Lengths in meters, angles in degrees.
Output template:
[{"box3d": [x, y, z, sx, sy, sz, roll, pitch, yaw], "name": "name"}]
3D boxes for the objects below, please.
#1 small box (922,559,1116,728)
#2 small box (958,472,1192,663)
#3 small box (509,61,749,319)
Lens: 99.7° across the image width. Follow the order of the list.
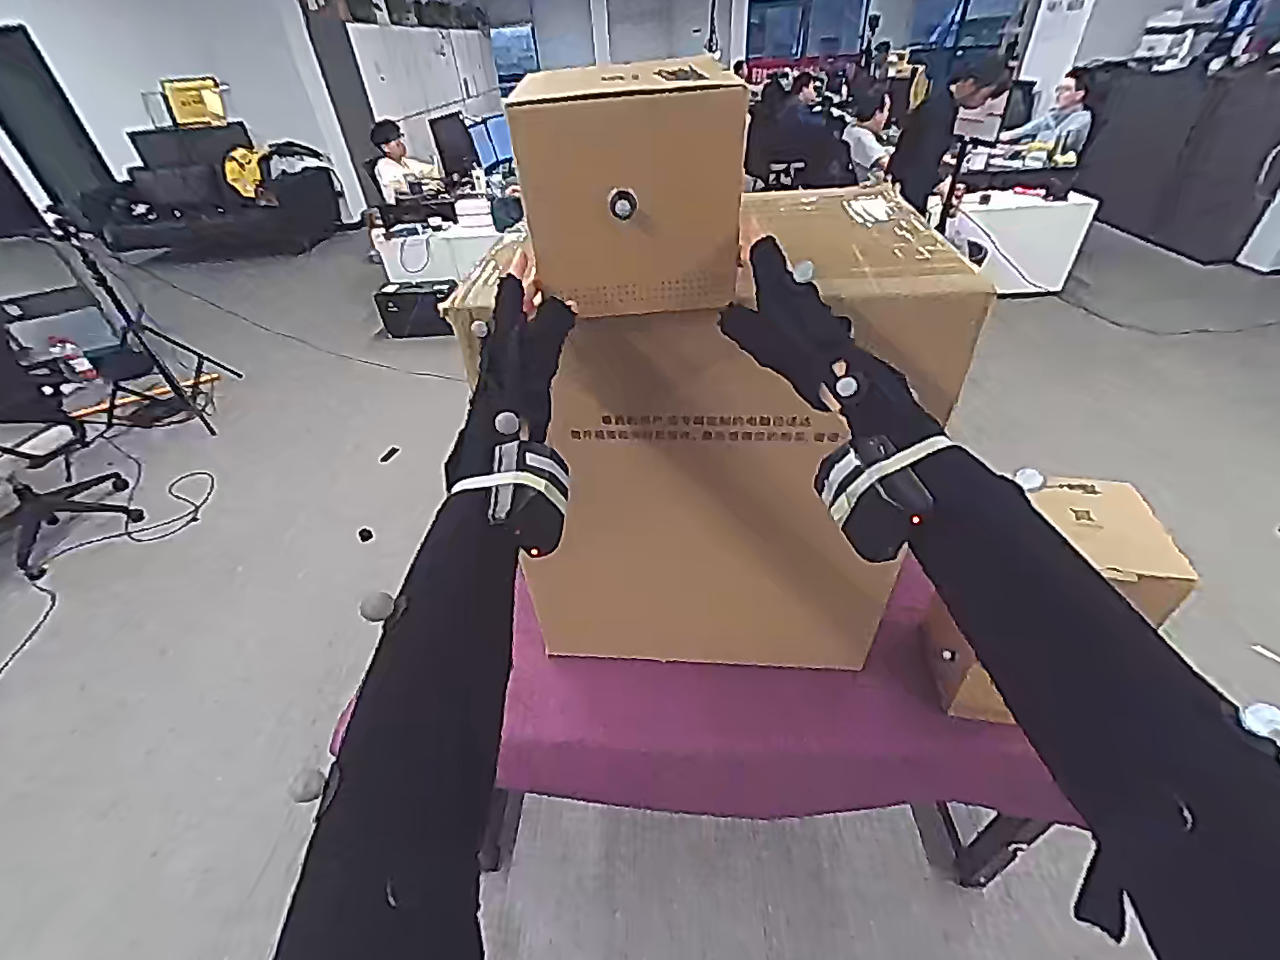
[{"box3d": [0.546, 0.244, 0.812, 0.168, 0.176, 0.179, 4, 38, 10], "name": "small box"}, {"box3d": [0.545, 0.114, 0.712, 0.168, 0.176, 0.179, 7, 40, 13], "name": "small box"}, {"box3d": [-0.006, -0.265, 0.498, 0.179, 0.176, 0.168, -5, 42, 1], "name": "small box"}]
